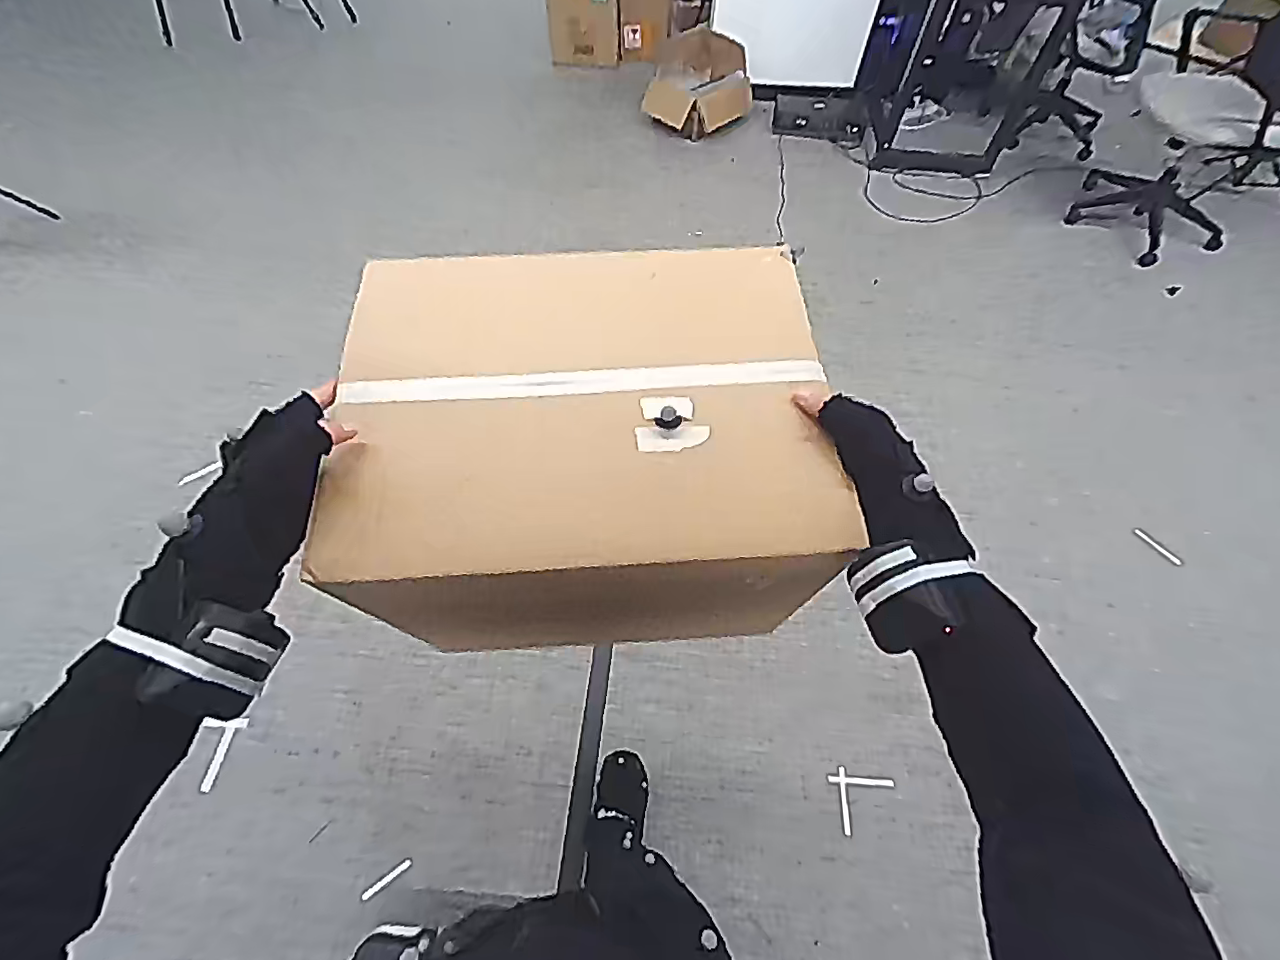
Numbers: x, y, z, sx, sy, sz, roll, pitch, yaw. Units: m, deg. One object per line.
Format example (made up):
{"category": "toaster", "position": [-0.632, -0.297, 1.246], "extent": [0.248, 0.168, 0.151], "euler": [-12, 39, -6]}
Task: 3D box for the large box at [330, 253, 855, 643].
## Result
{"category": "large box", "position": [-0.045, -0.015, 0.601], "extent": [0.408, 0.320, 0.320], "euler": [-3, 64, -2]}
